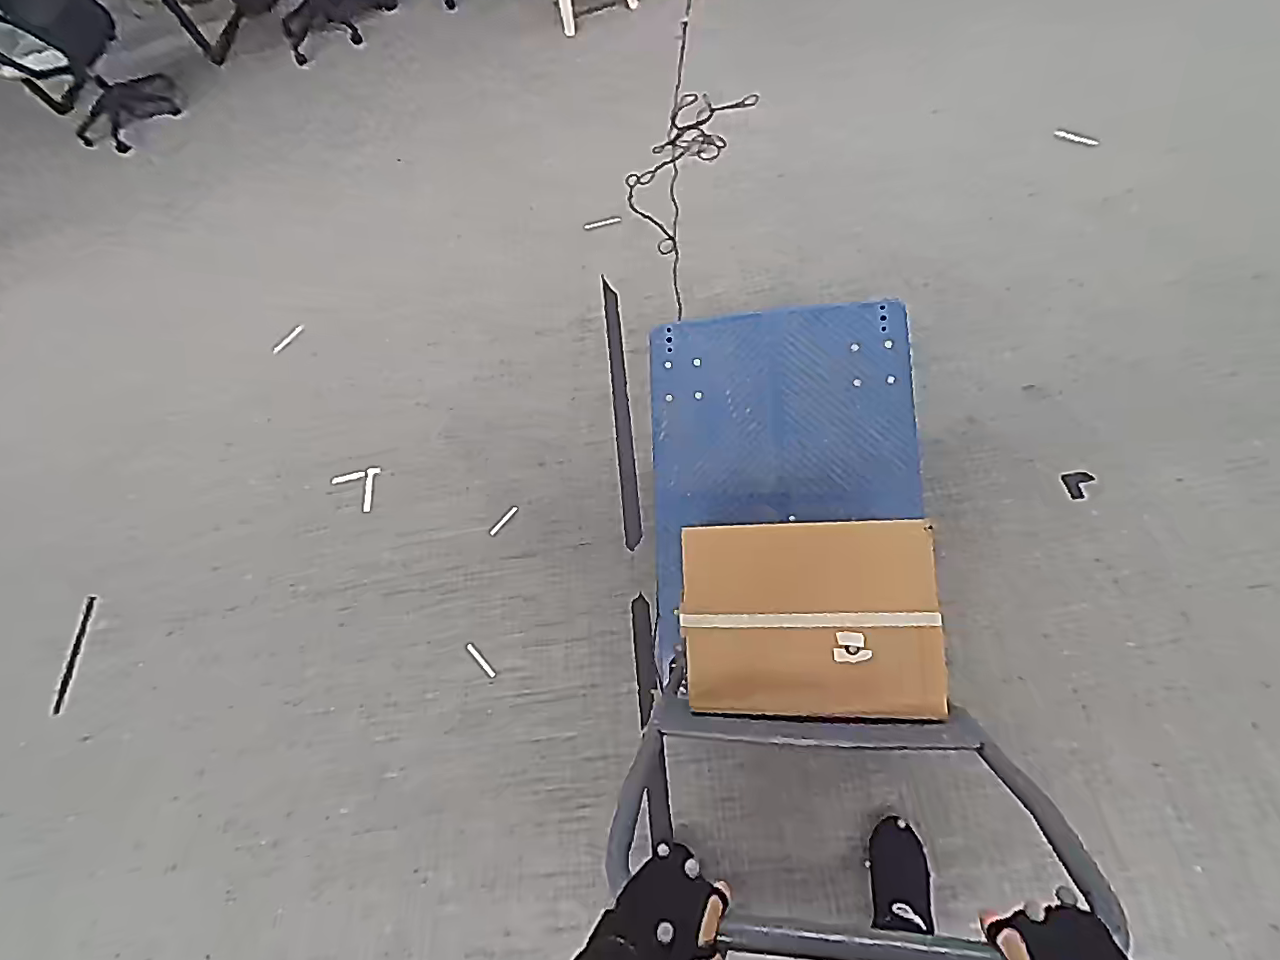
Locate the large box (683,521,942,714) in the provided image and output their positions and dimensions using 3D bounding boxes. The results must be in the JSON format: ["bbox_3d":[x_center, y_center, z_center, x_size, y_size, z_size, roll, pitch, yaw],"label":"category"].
[{"bbox_3d":[0.304,0.248,1.052,0.408,0.320,0.320,-3,85,10],"label":"large box"}]
